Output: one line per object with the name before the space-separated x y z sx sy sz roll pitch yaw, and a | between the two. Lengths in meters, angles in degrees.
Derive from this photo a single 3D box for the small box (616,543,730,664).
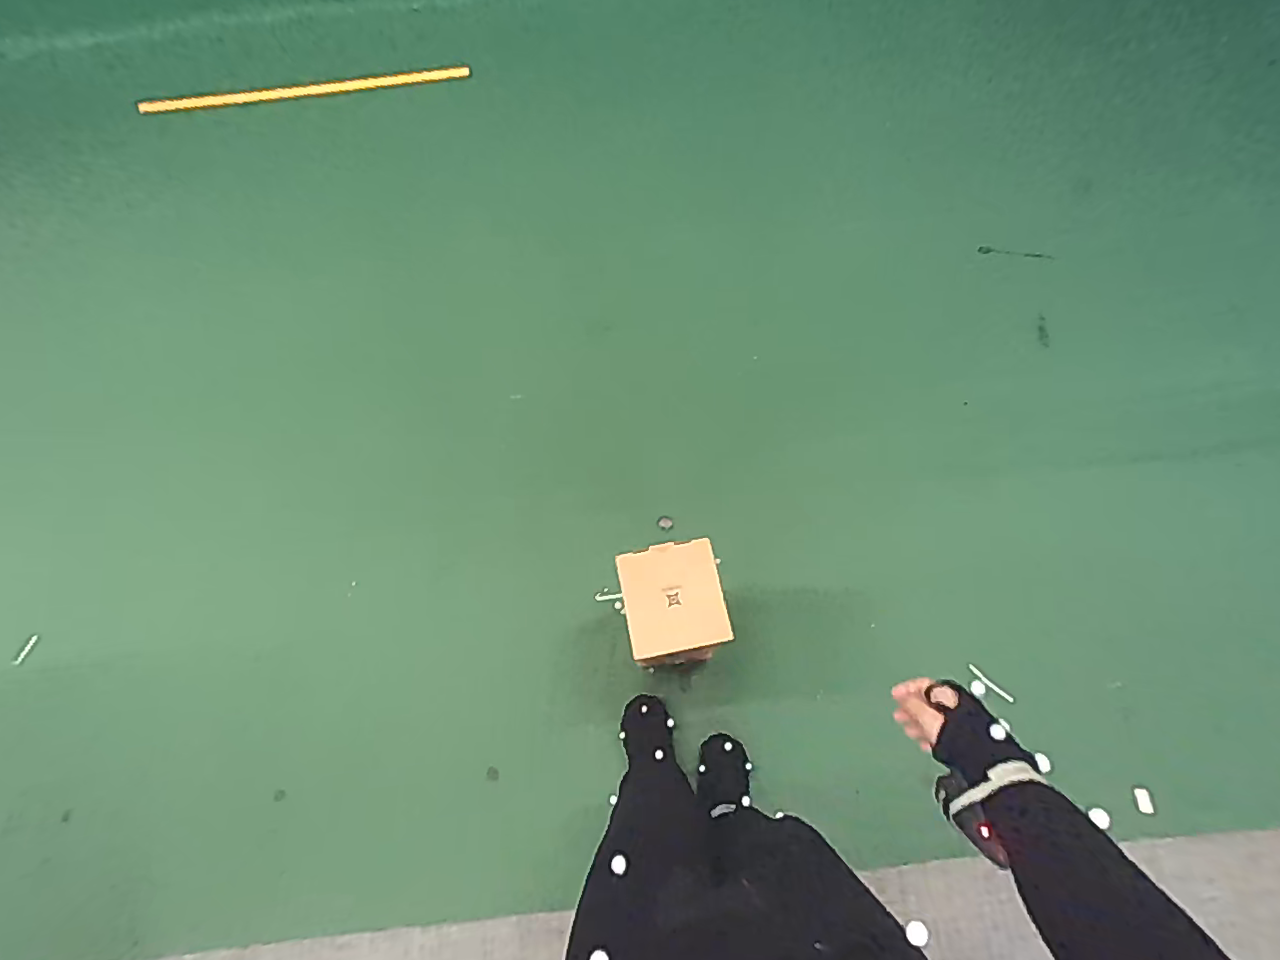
small box | 0.057 0.228 0.972 0.168 0.176 0.179 -11 69 -2
